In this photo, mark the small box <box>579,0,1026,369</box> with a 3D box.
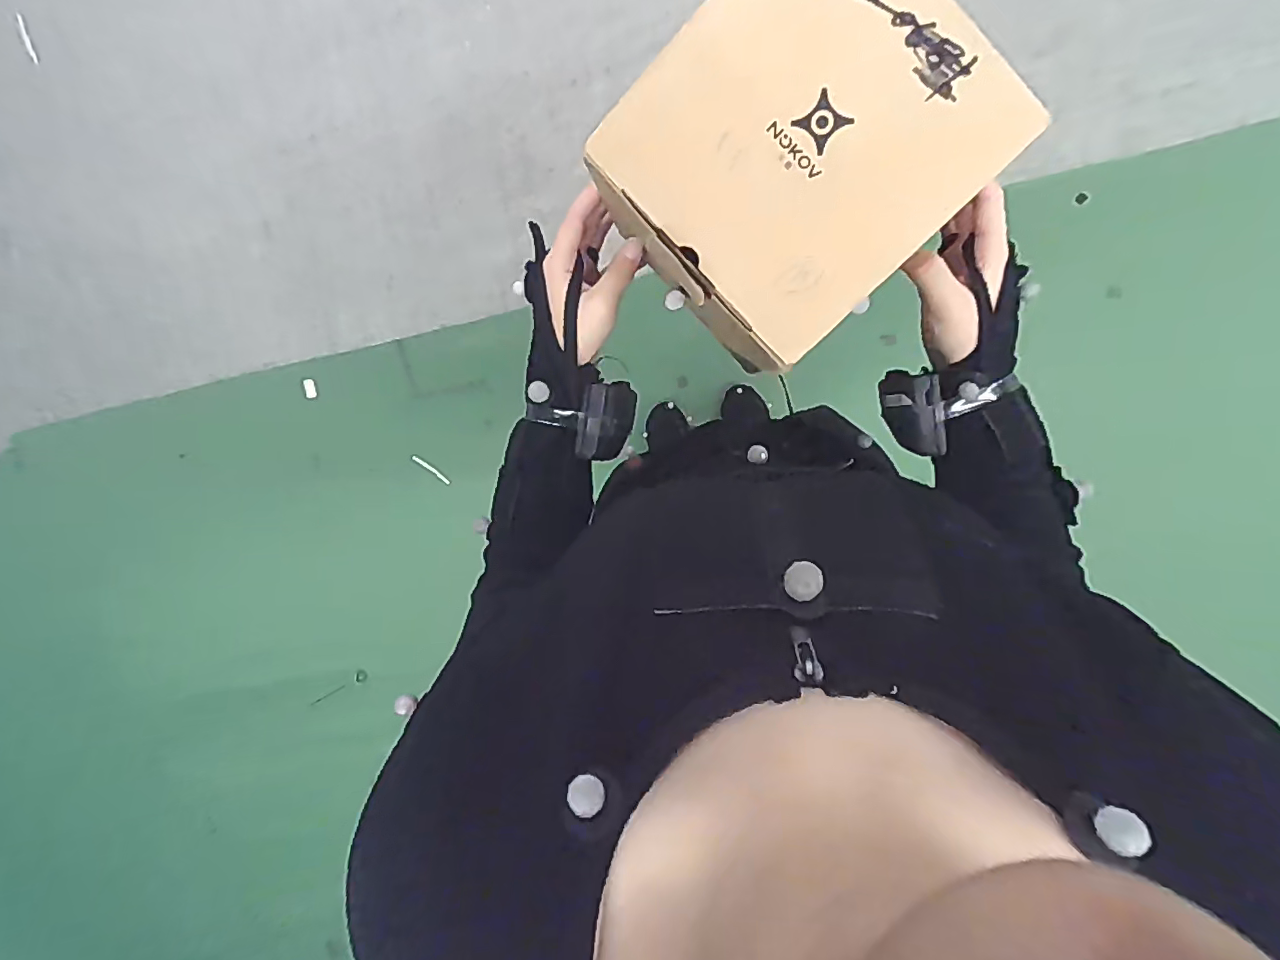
[{"bbox_3d":[0.090,-0.190,0.364,0.179,0.176,0.168,-43,94,12],"label":"small box"}]
